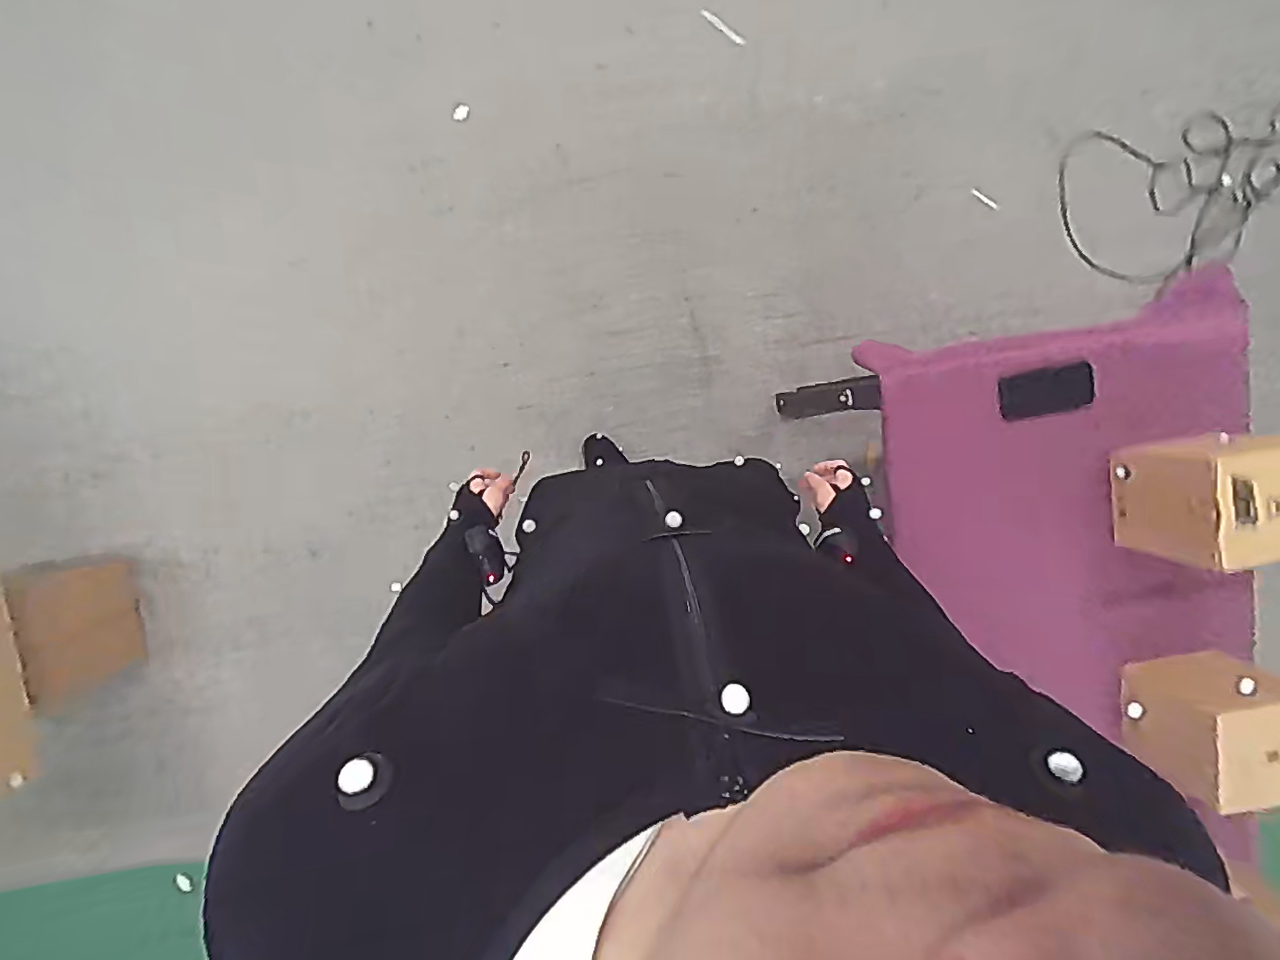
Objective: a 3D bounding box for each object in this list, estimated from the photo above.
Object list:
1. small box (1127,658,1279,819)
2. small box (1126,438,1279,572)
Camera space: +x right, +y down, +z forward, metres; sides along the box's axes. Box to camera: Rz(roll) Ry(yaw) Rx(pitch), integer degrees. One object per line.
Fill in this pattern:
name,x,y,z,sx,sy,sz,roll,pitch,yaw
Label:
small box,0.950,0.406,0.875,0.179,0.176,0.168,-8,96,1
small box,0.893,0.029,0.826,0.179,0.176,0.168,-9,97,0
